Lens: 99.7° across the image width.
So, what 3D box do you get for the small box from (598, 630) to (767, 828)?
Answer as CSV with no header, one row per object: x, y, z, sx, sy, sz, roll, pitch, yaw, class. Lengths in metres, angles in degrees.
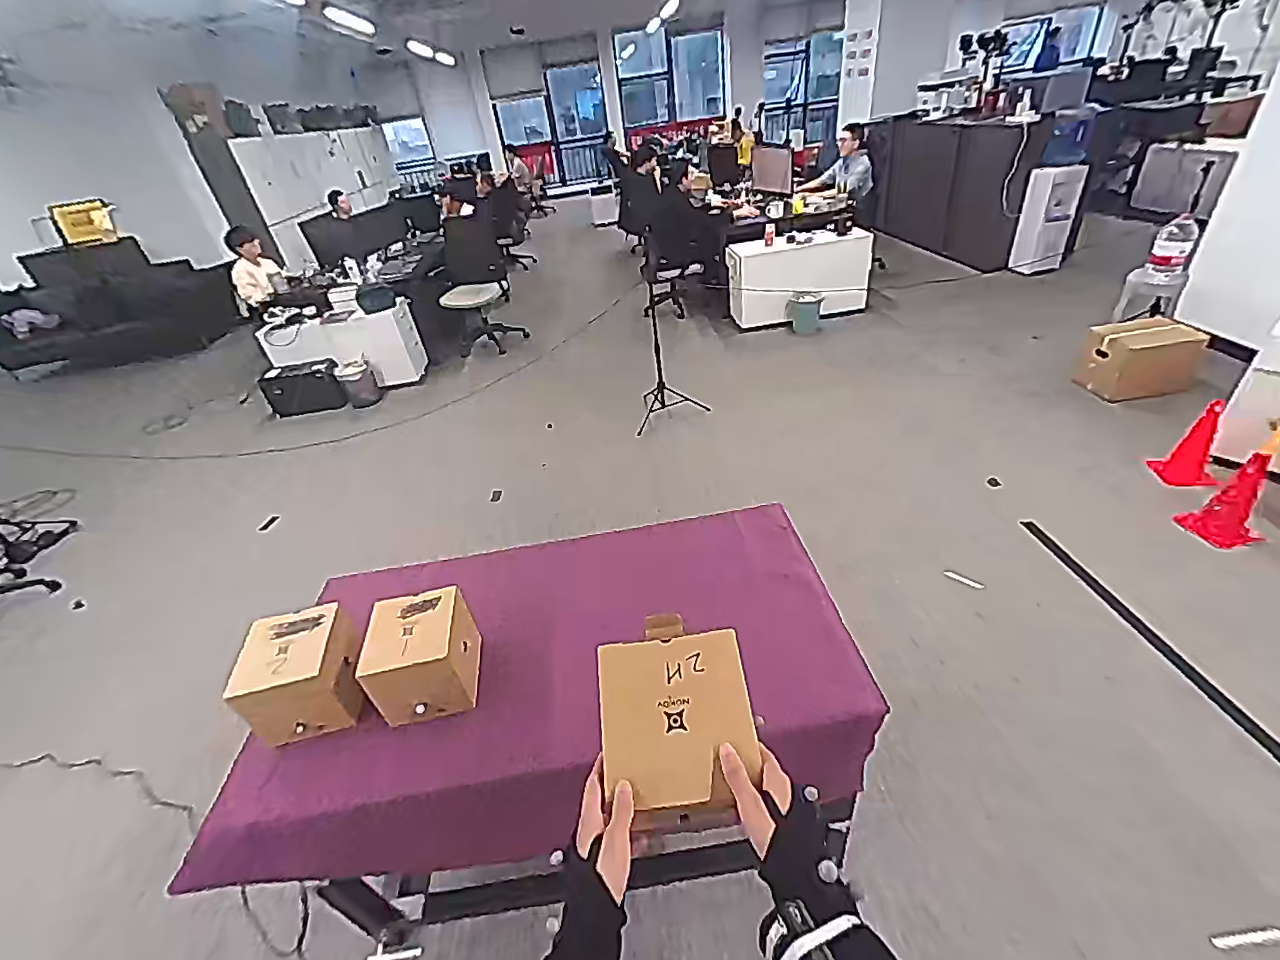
0.046,0.299,0.638,0.168,0.176,0.179,-7,52,1,small box

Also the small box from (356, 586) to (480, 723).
-0.422,0.341,1.061,0.168,0.176,0.179,-12,36,-4,small box
